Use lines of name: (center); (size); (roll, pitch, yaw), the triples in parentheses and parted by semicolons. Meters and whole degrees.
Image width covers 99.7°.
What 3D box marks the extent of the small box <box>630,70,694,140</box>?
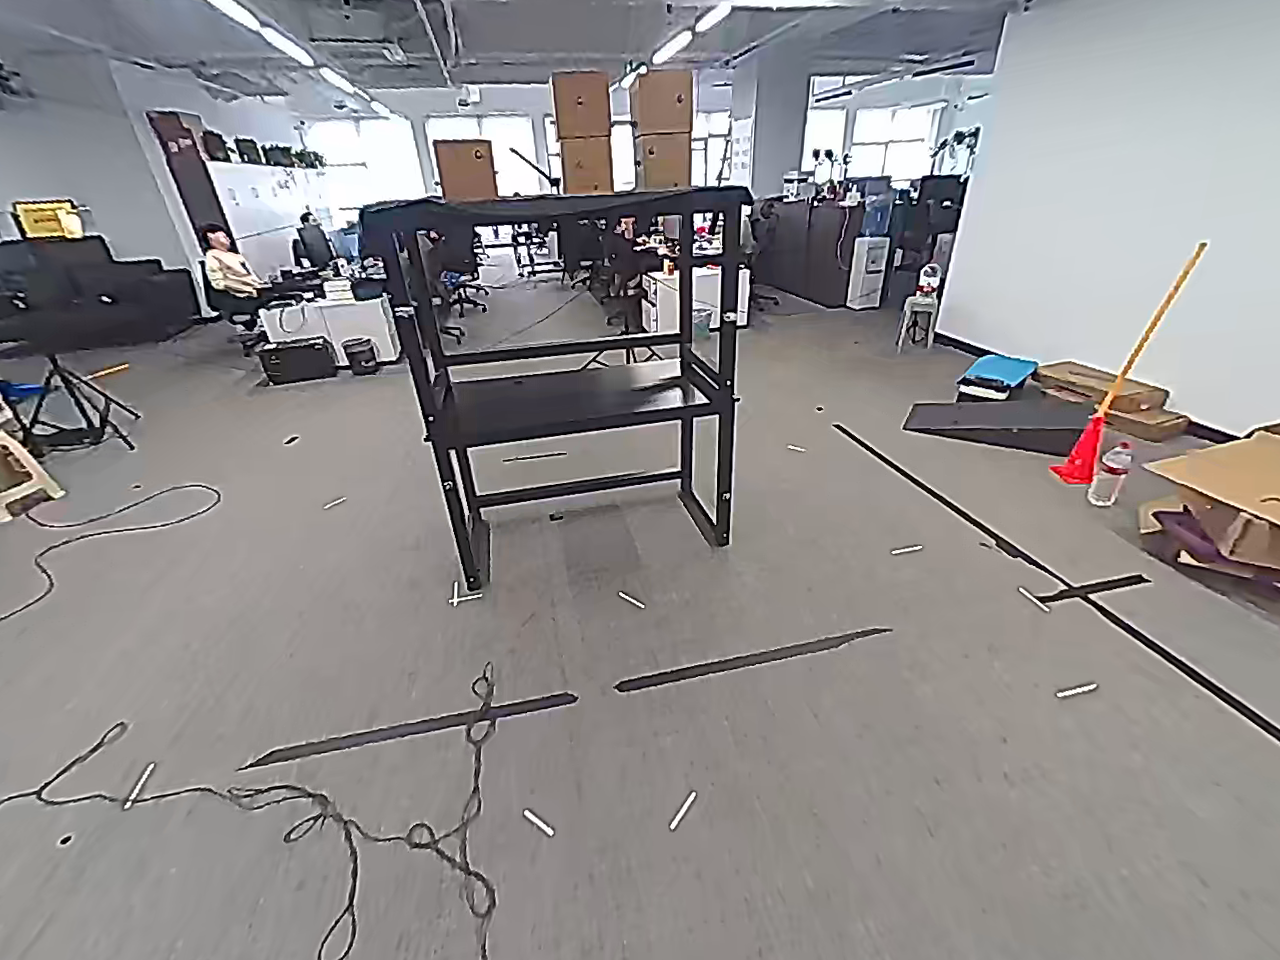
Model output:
small box: (0.070, -1.212, 1.757); (0.179, 0.176, 0.168); (-9, 27, -9)

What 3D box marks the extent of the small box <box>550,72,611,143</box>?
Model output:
small box: (-0.187, -1.180, 1.724); (0.179, 0.176, 0.168); (-8, 28, -7)

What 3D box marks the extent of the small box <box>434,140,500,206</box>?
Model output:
small box: (-0.547, -0.974, 1.721); (0.179, 0.176, 0.168); (-11, 28, -14)

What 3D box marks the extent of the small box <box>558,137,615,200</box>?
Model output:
small box: (-0.179, -1.040, 1.810); (0.168, 0.176, 0.179); (-7, 28, -8)
